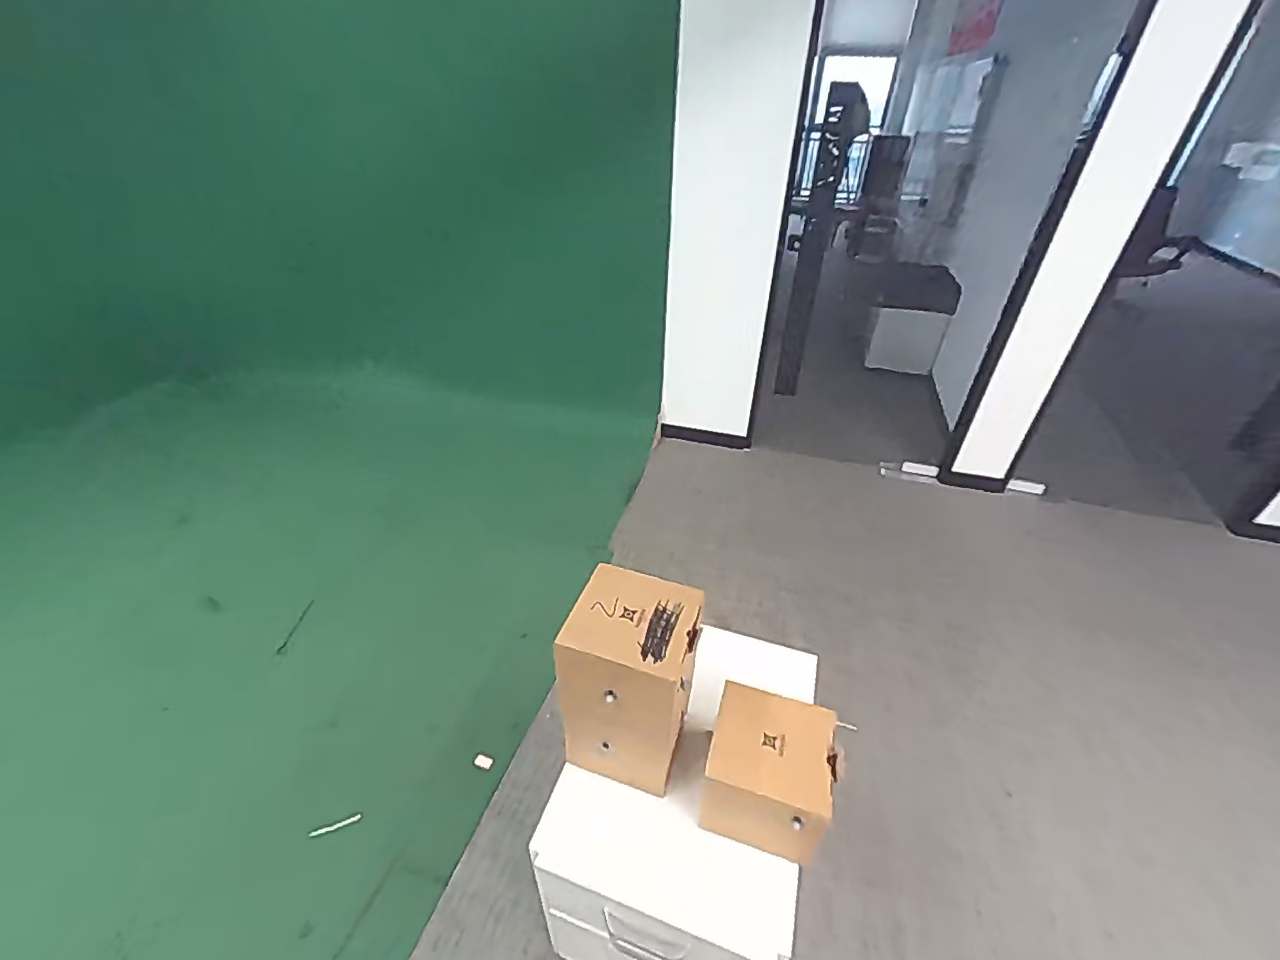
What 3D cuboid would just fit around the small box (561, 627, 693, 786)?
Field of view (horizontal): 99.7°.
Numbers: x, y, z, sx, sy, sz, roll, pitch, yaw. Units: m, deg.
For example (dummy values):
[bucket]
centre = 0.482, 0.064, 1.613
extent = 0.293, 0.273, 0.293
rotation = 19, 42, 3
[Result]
[small box]
centre = -0.019, 0.385, 0.920
extent = 0.179, 0.176, 0.168
rotation = 13, 38, 13
